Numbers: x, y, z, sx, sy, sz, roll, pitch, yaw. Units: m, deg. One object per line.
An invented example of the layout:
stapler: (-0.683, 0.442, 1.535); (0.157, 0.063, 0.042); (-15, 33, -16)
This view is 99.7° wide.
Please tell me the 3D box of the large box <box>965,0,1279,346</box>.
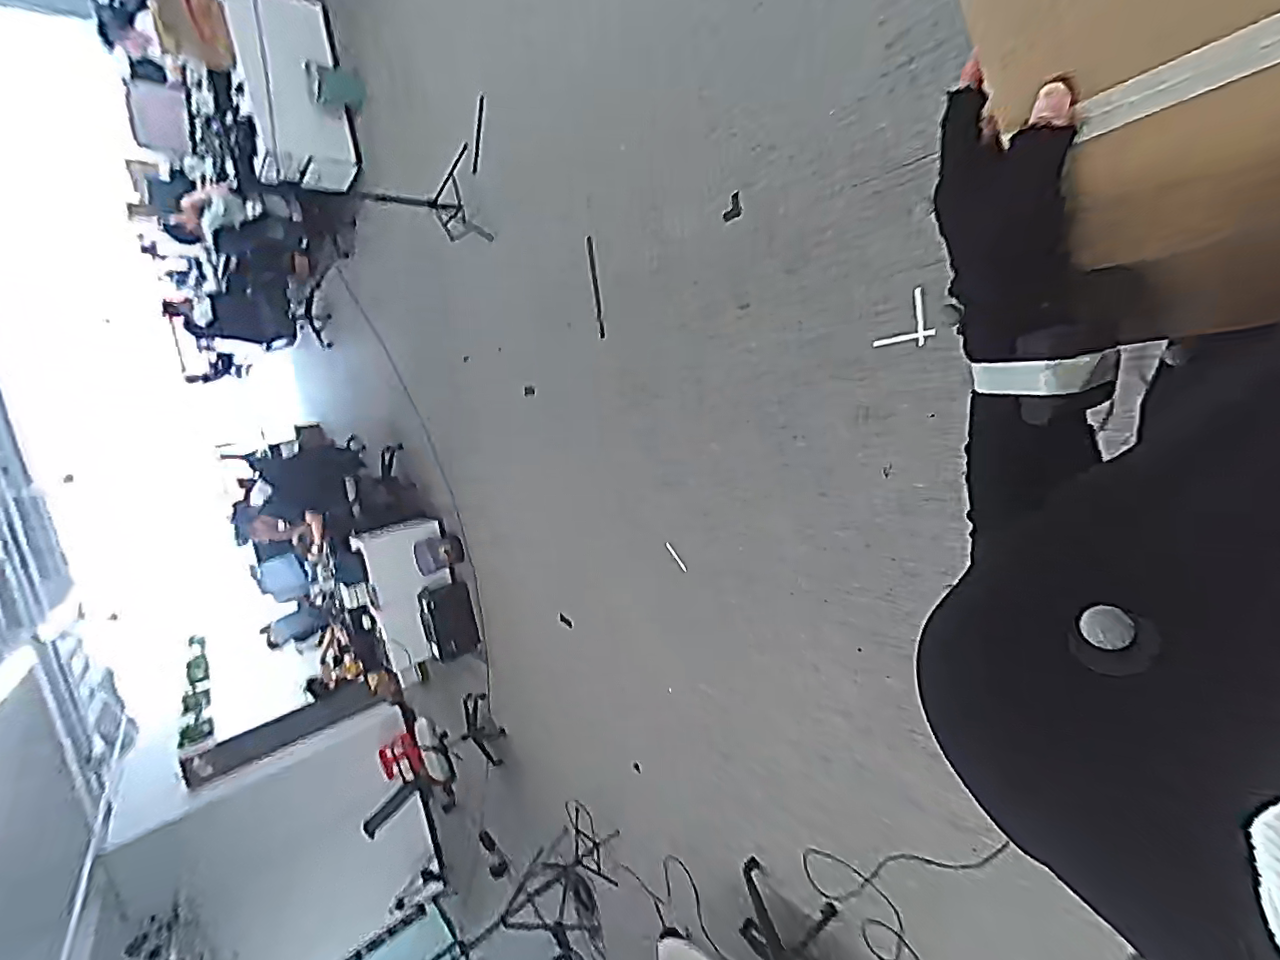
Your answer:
large box: (0.429, -0.312, 0.240); (0.408, 0.320, 0.320); (0, 138, 52)
